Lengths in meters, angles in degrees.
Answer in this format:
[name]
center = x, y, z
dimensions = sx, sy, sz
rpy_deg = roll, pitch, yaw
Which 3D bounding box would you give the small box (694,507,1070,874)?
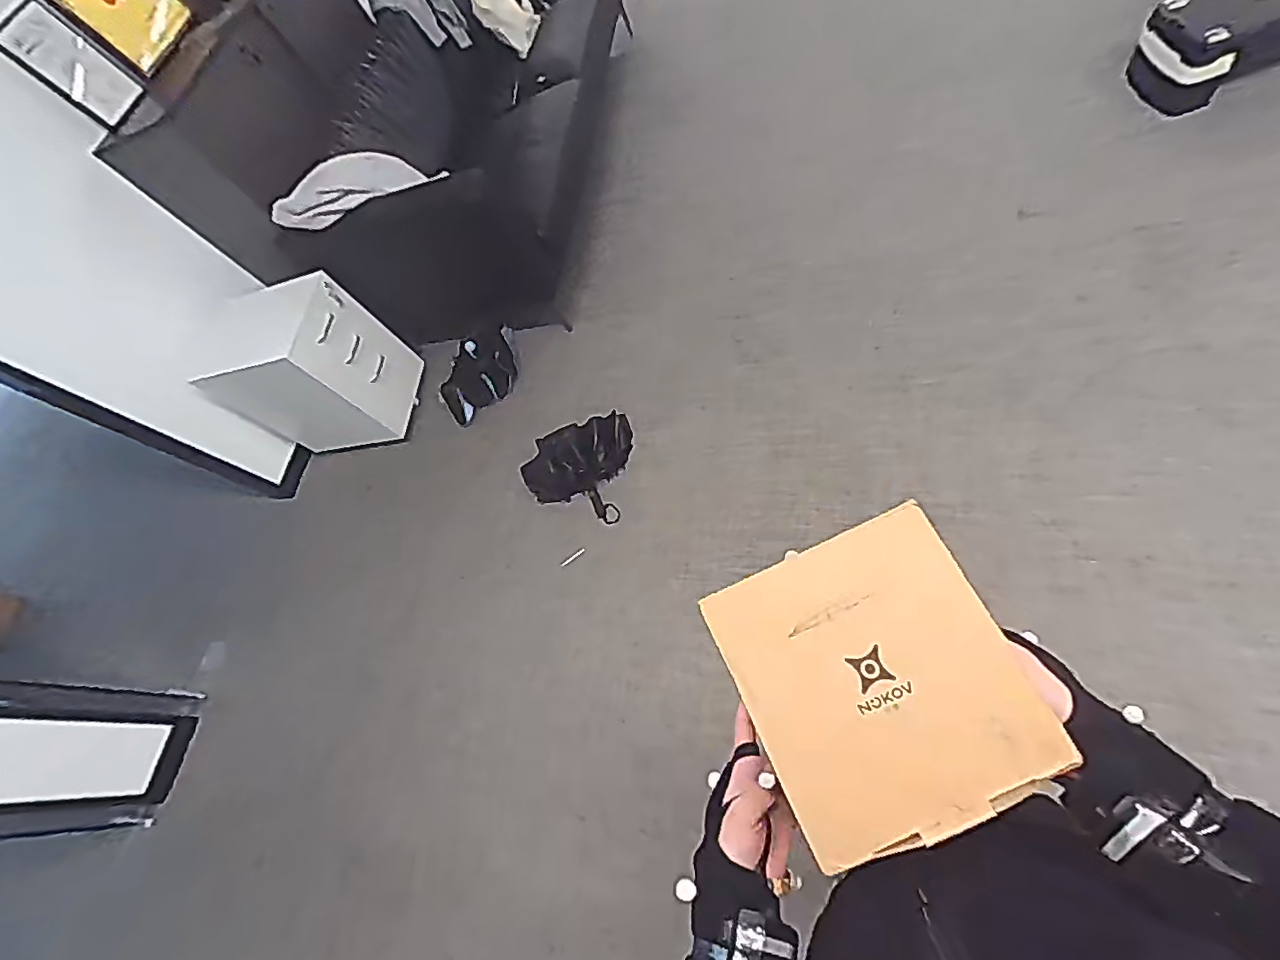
[small box]
center = 0.157, 0.147, 0.416
dimensions = 0.168, 0.176, 0.179
rpy_deg = -26, 69, 1
